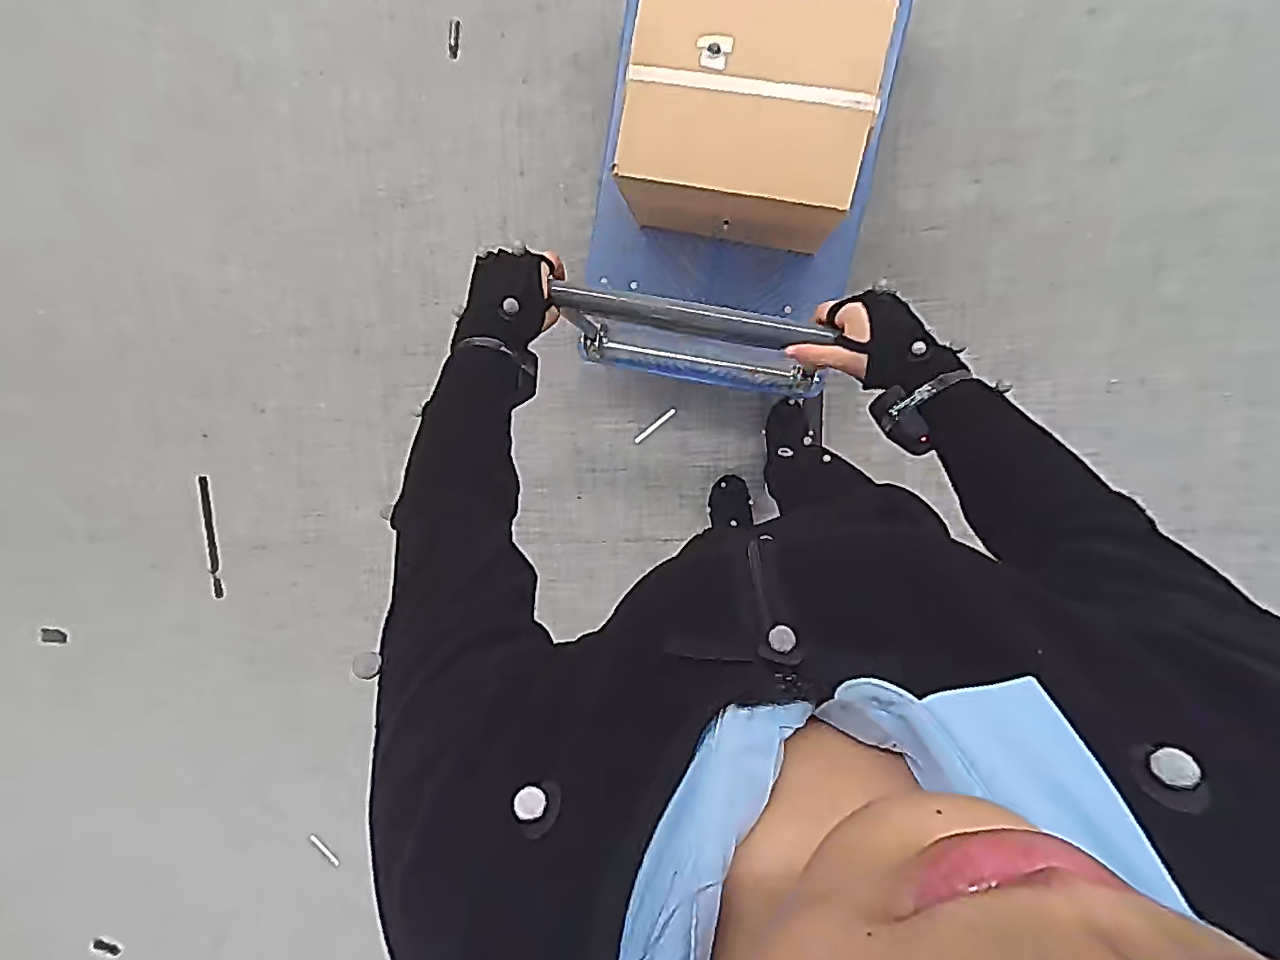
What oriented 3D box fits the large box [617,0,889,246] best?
[{"bbox_3d":[0.201,-0.670,1.044,0.408,0.320,0.320,12,100,7],"label":"large box"}]
